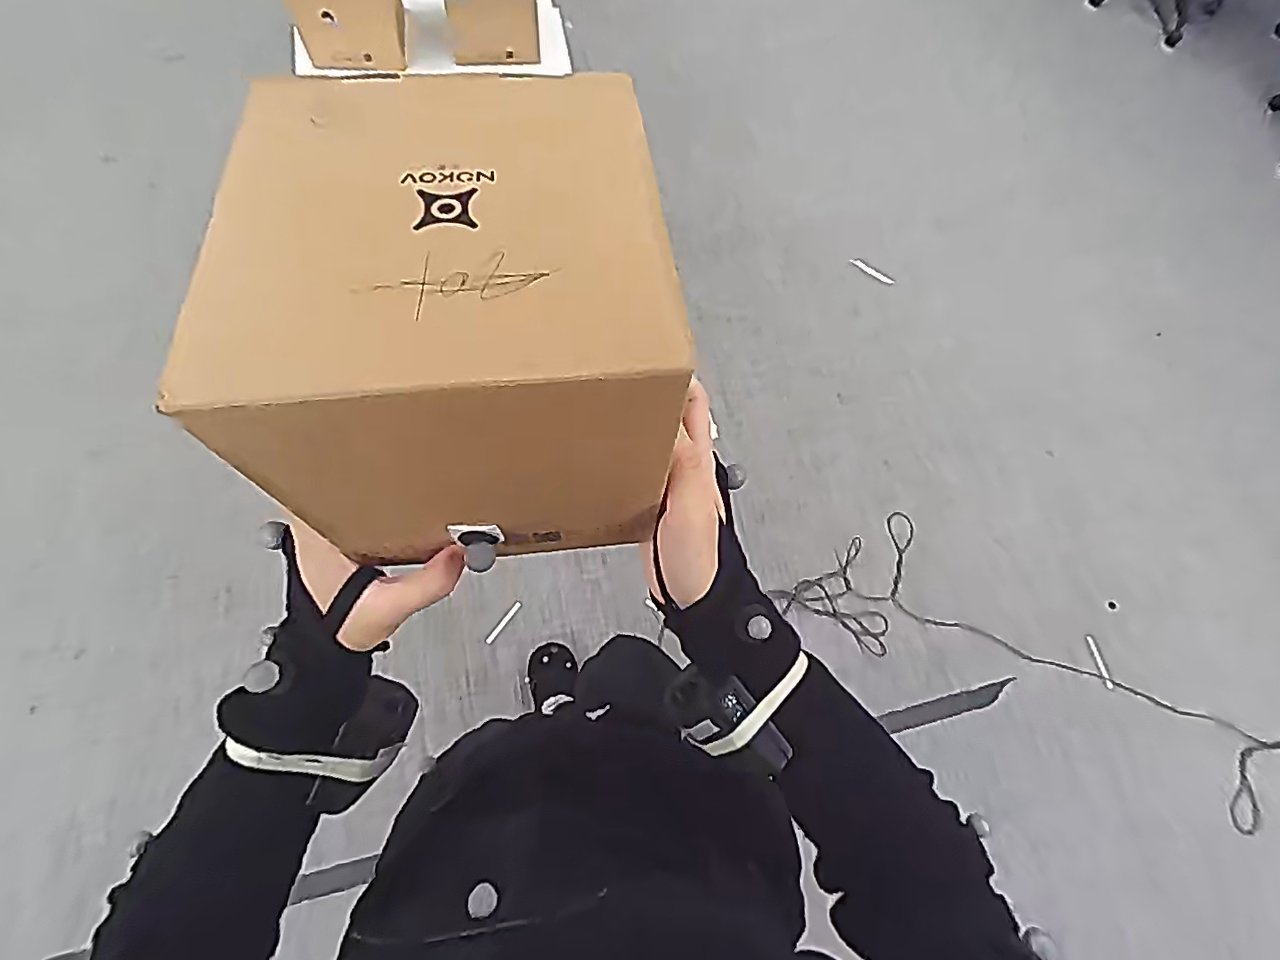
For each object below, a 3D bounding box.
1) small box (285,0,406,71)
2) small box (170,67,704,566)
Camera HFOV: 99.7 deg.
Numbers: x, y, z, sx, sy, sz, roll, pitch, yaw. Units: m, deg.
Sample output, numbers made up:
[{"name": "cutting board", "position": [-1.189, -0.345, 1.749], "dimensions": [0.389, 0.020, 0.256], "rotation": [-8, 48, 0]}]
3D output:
[{"name": "small box", "position": [-0.532, -0.878, 0.976], "dimensions": [0.168, 0.176, 0.179], "rotation": [-6, 73, -9]}, {"name": "small box", "position": [-0.075, -0.071, 0.277], "dimensions": [0.168, 0.176, 0.179], "rotation": [-6, 64, -7]}]
